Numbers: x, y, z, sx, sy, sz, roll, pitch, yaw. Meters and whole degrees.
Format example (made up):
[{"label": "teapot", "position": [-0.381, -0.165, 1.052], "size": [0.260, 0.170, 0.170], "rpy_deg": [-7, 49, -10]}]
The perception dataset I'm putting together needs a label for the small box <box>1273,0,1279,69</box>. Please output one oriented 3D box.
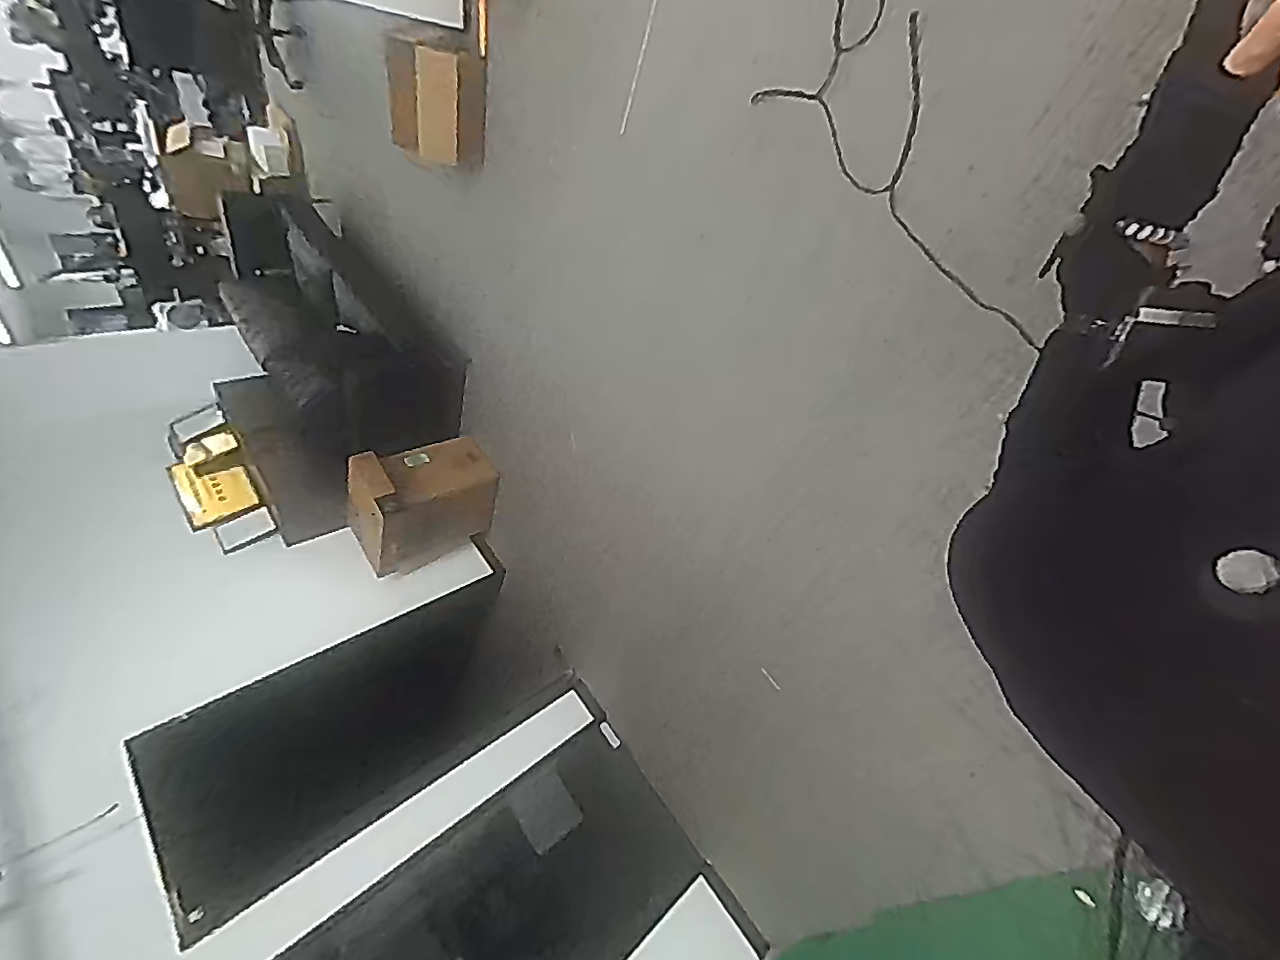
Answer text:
[{"label": "small box", "position": [0.401, -0.296, 0.224], "size": [0.168, 0.176, 0.179], "rpy_deg": [9, 117, 48]}]
